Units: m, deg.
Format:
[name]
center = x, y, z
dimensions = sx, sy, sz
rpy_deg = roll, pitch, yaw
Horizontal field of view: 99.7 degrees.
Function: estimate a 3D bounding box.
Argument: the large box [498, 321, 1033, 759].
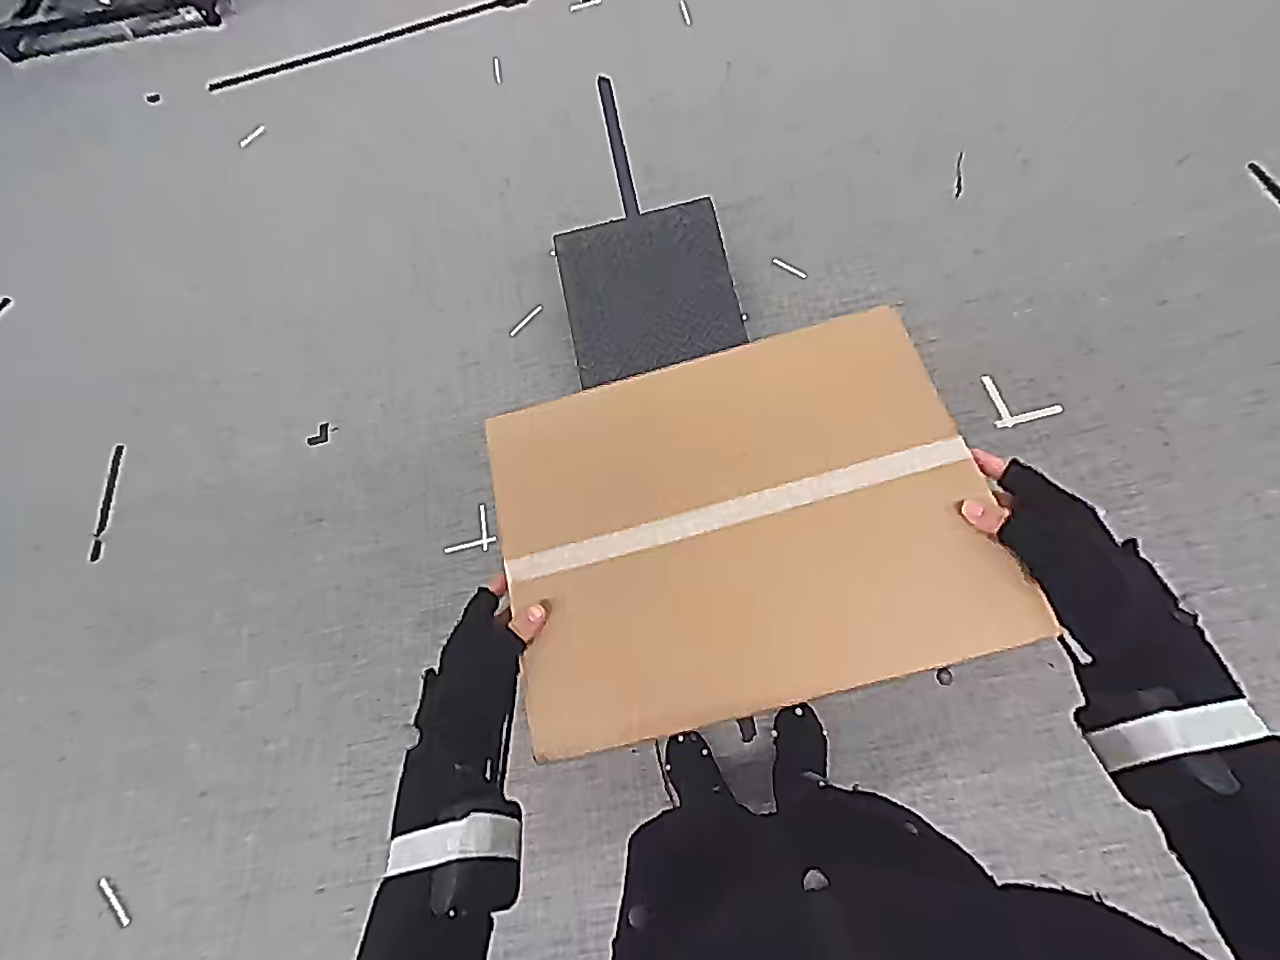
[large box]
center = 0.103, 0.083, 0.615
dimensions = 0.408, 0.320, 0.320
rpy_deg = -15, 68, 3
